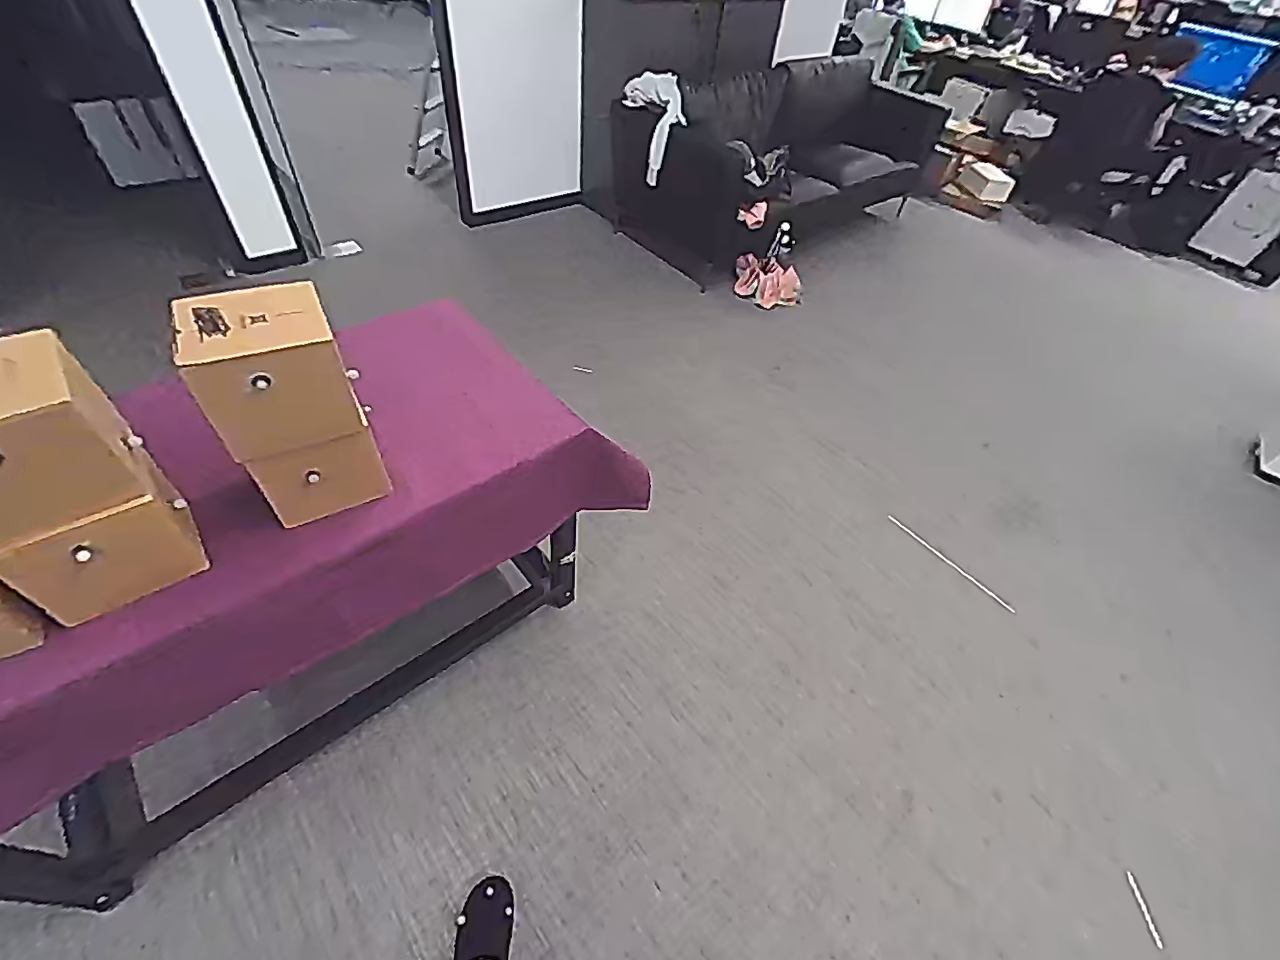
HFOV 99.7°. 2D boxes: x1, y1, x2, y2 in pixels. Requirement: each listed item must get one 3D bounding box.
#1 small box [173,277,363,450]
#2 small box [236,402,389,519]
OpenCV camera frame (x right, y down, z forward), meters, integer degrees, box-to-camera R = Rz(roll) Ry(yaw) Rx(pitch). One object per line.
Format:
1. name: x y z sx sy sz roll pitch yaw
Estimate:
1. small box: -0.530 -0.167 0.783 0.179 0.176 0.168 -19 54 -25
2. small box: -0.551 -0.062 0.909 0.179 0.176 0.168 -22 55 -25
